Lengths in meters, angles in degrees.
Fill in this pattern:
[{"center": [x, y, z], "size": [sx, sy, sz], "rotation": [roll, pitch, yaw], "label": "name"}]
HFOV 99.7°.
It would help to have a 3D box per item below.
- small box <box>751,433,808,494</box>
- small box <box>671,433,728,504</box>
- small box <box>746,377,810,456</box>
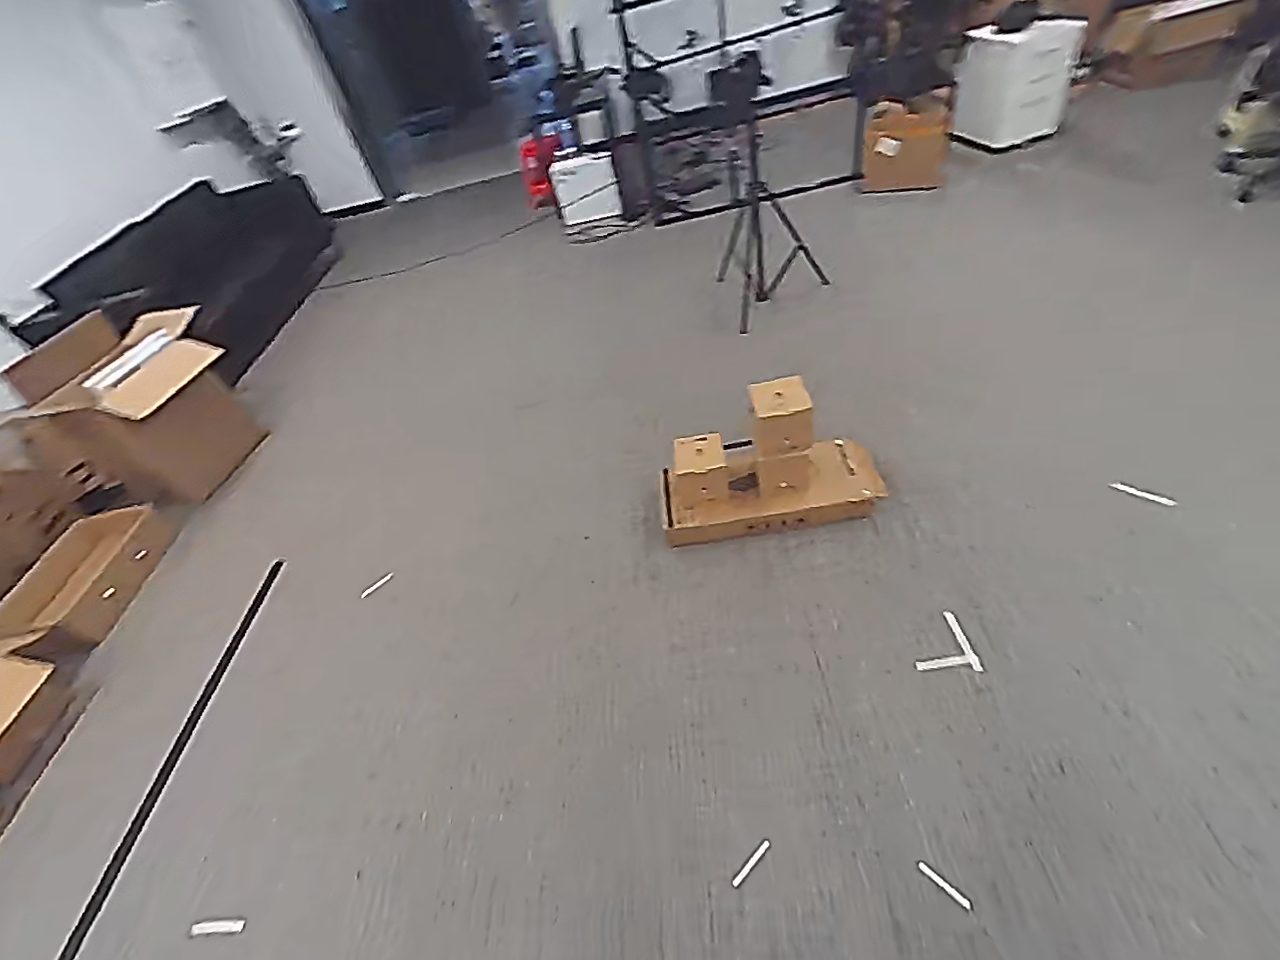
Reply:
[{"center": [0.469, -0.076, 1.835], "size": [0.168, 0.176, 0.179], "rotation": [-8, 45, 10], "label": "small box"}, {"center": [0.206, -0.031, 1.868], "size": [0.168, 0.176, 0.179], "rotation": [-10, 46, 7], "label": "small box"}, {"center": [0.439, -0.202, 1.730], "size": [0.168, 0.176, 0.179], "rotation": [-11, 44, 7], "label": "small box"}]
